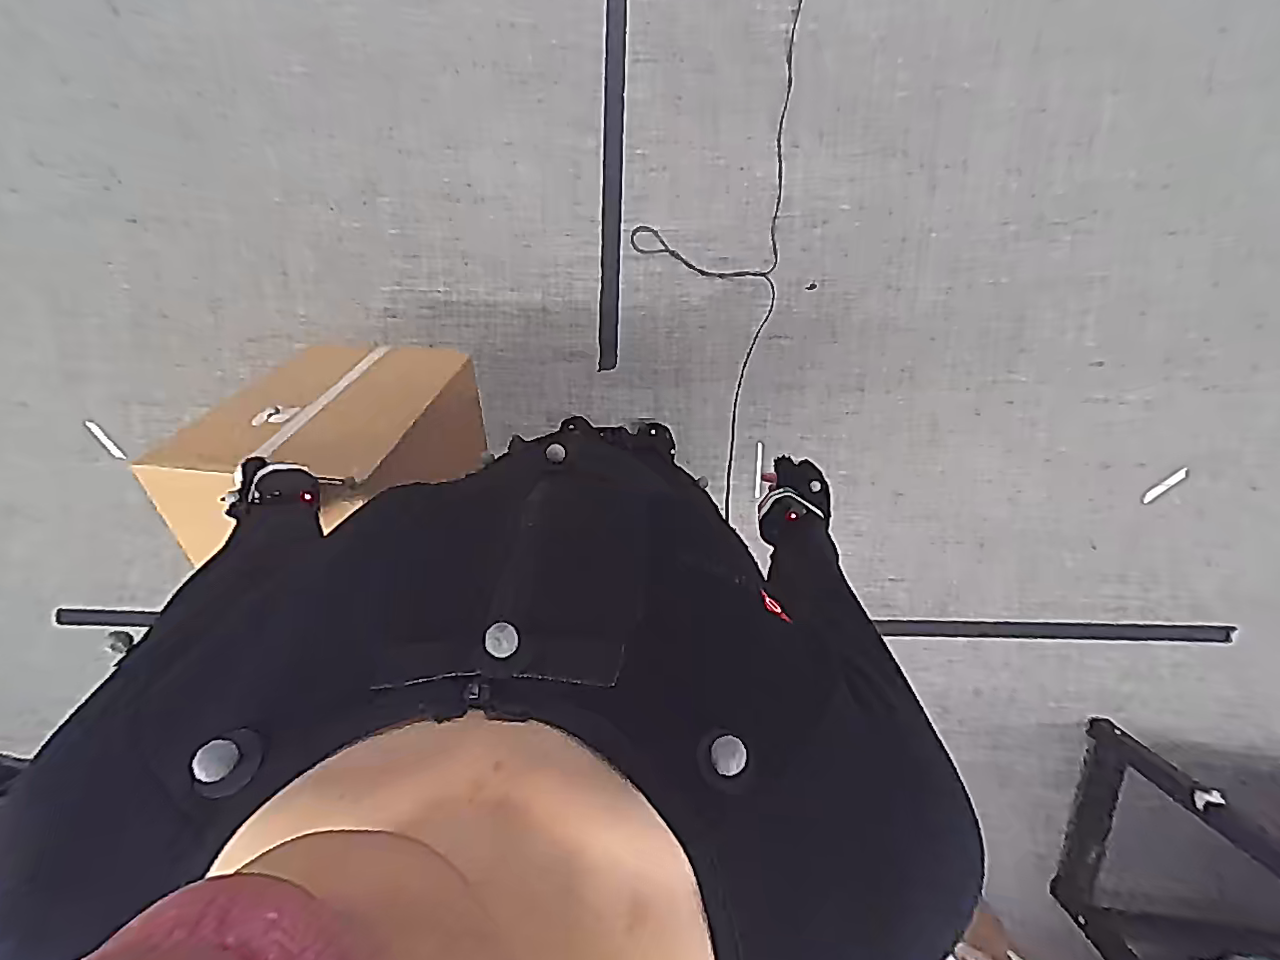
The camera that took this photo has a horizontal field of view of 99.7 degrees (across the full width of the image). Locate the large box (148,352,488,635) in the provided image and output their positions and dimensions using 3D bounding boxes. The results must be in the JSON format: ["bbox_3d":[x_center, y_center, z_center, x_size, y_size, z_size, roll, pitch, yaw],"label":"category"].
[{"bbox_3d":[-0.488,0.006,0.947,0.320,0.408,0.320,3,127,4],"label":"large box"}]
